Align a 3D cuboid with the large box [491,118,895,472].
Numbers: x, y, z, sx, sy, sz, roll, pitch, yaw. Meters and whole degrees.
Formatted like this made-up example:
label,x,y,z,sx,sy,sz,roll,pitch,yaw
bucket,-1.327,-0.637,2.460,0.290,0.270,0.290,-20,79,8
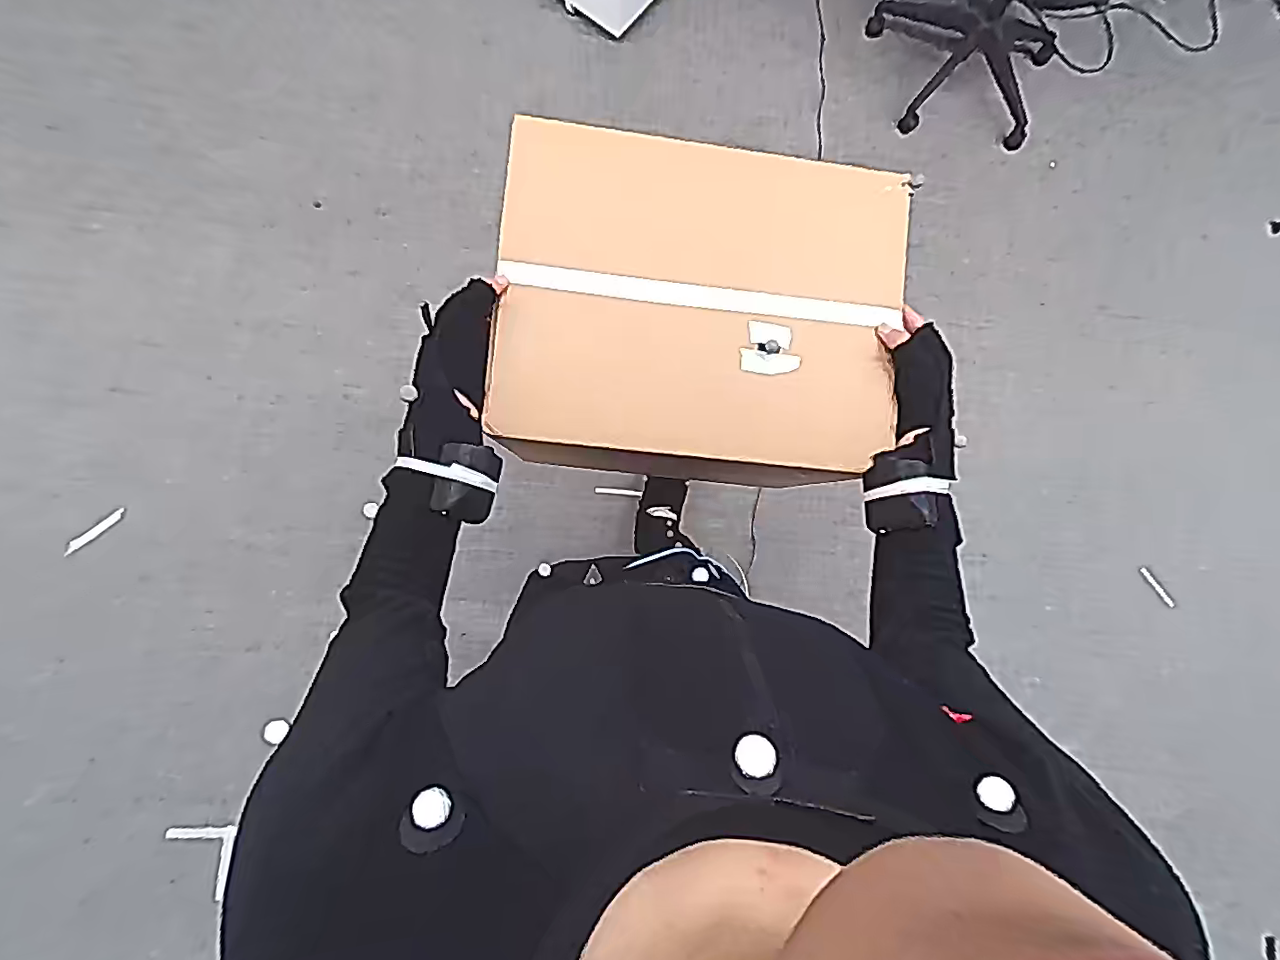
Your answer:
label,x,y,z,sx,sy,sz,roll,pitch,yaw
large box,0.046,-0.186,0.695,0.408,0.320,0.320,6,88,-6
